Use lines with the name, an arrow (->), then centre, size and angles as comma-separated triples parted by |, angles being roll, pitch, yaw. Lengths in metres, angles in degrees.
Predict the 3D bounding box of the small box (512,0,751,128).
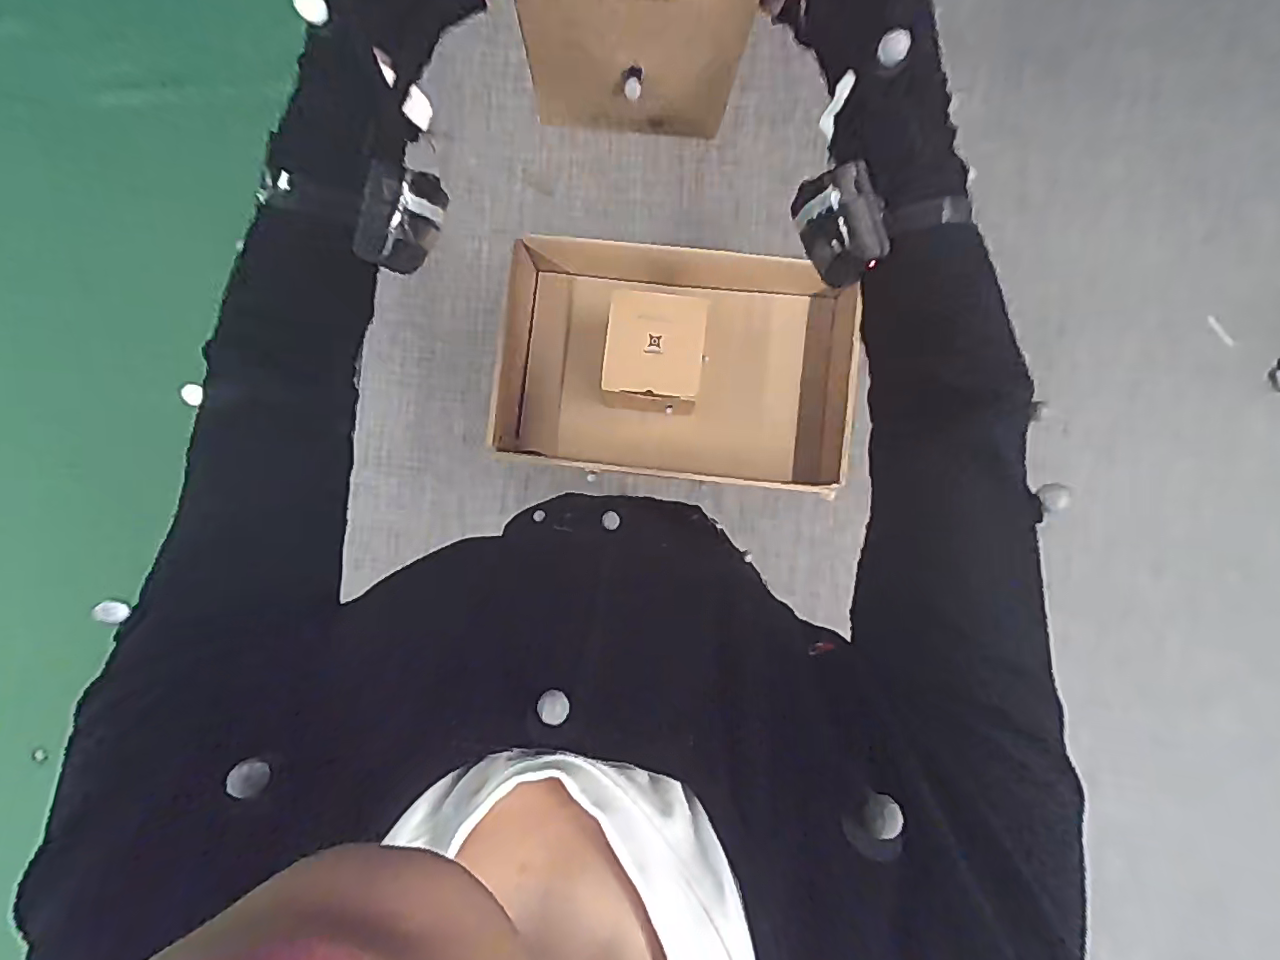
small box -> -0.001, -0.404, 0.411 | 0.168, 0.176, 0.179 | 3, 94, -3

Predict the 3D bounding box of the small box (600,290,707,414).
small box -> 0.024, -0.223, 0.987 | 0.168, 0.176, 0.179 | 6, 86, 0
